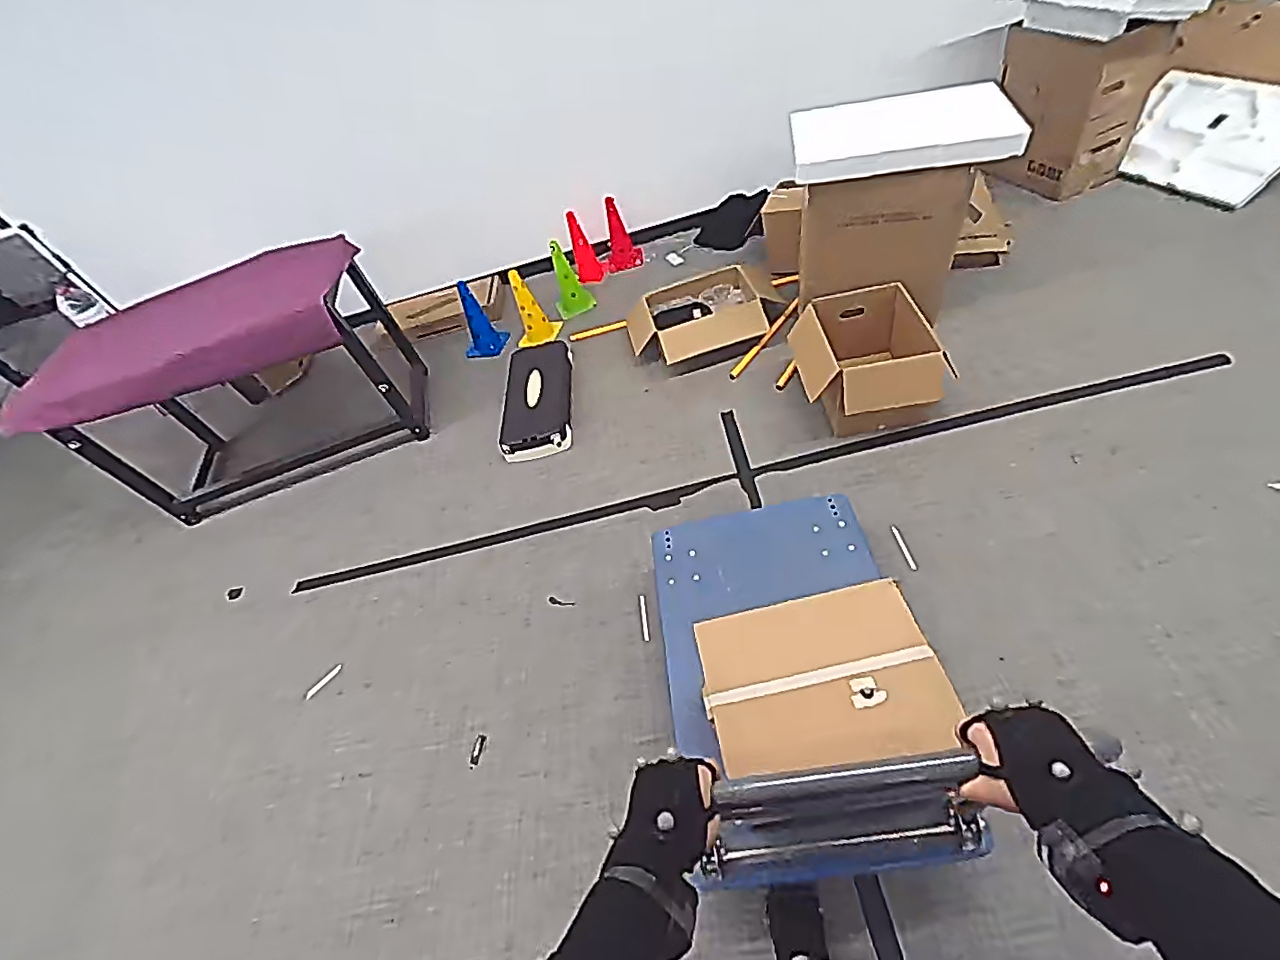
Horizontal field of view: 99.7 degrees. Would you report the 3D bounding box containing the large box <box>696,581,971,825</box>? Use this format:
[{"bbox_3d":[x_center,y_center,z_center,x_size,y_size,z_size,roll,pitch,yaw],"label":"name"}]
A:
[{"bbox_3d":[0.354,0.456,1.092,0.408,0.320,0.320,-14,48,3],"label":"large box"}]
